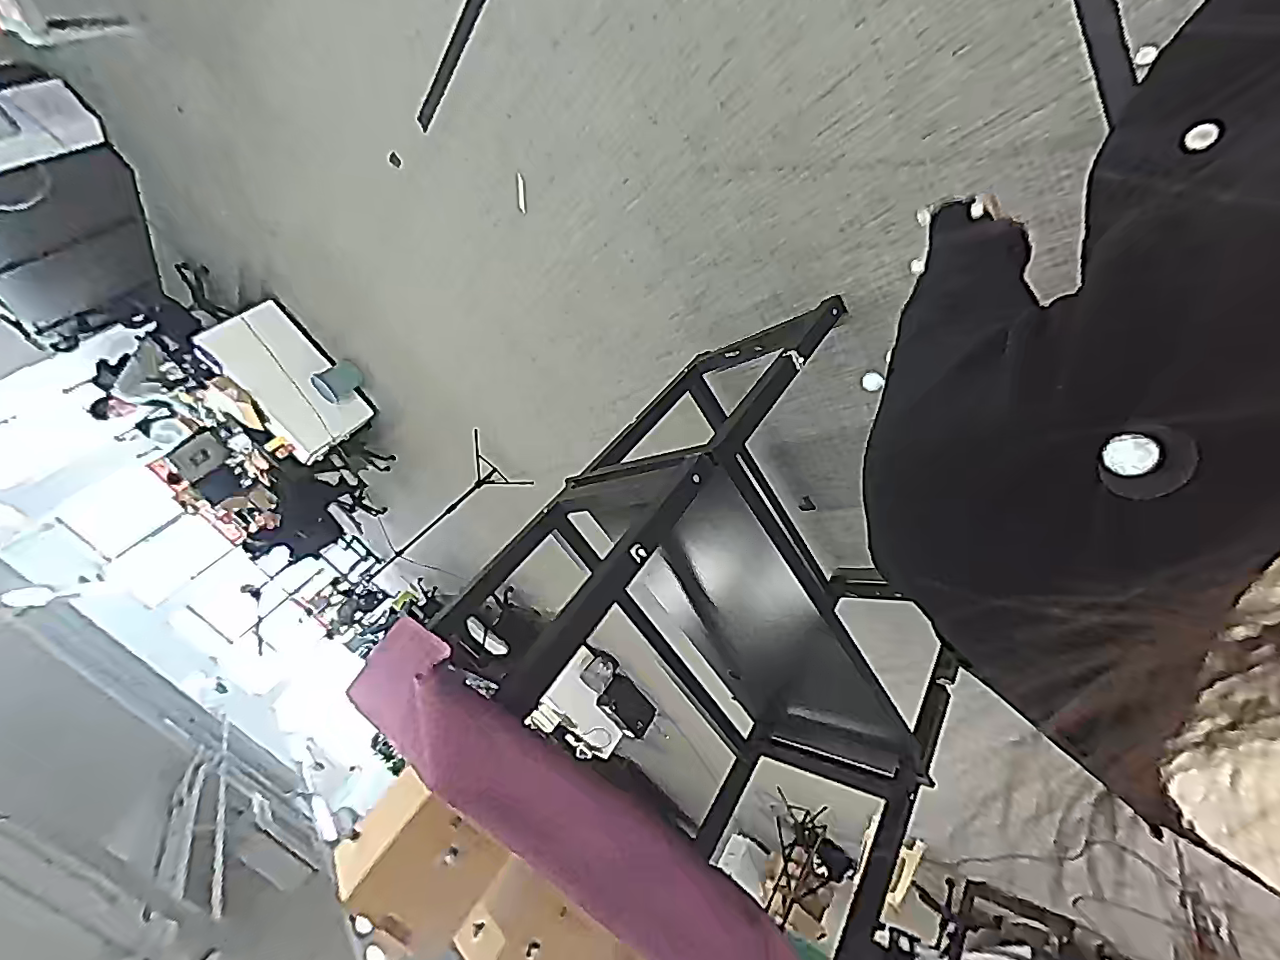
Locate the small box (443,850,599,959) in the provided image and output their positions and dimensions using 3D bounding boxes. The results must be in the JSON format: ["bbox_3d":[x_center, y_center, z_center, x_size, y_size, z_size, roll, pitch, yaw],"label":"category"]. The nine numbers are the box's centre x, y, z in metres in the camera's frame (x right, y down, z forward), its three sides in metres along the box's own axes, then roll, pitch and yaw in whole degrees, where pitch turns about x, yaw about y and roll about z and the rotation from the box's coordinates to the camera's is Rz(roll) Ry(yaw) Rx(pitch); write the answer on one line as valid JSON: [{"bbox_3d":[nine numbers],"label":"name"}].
[{"bbox_3d":[-0.196,0.773,0.914,0.168,0.176,0.179,52,147,-15],"label":"small box"}]

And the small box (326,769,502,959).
[{"bbox_3d":[-0.337,0.572,0.815,0.168,0.176,0.179,49,148,-14],"label":"small box"}]

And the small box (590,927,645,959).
[{"bbox_3d":[-0.039,0.980,0.995,0.168,0.176,0.179,48,147,-9],"label":"small box"}]
